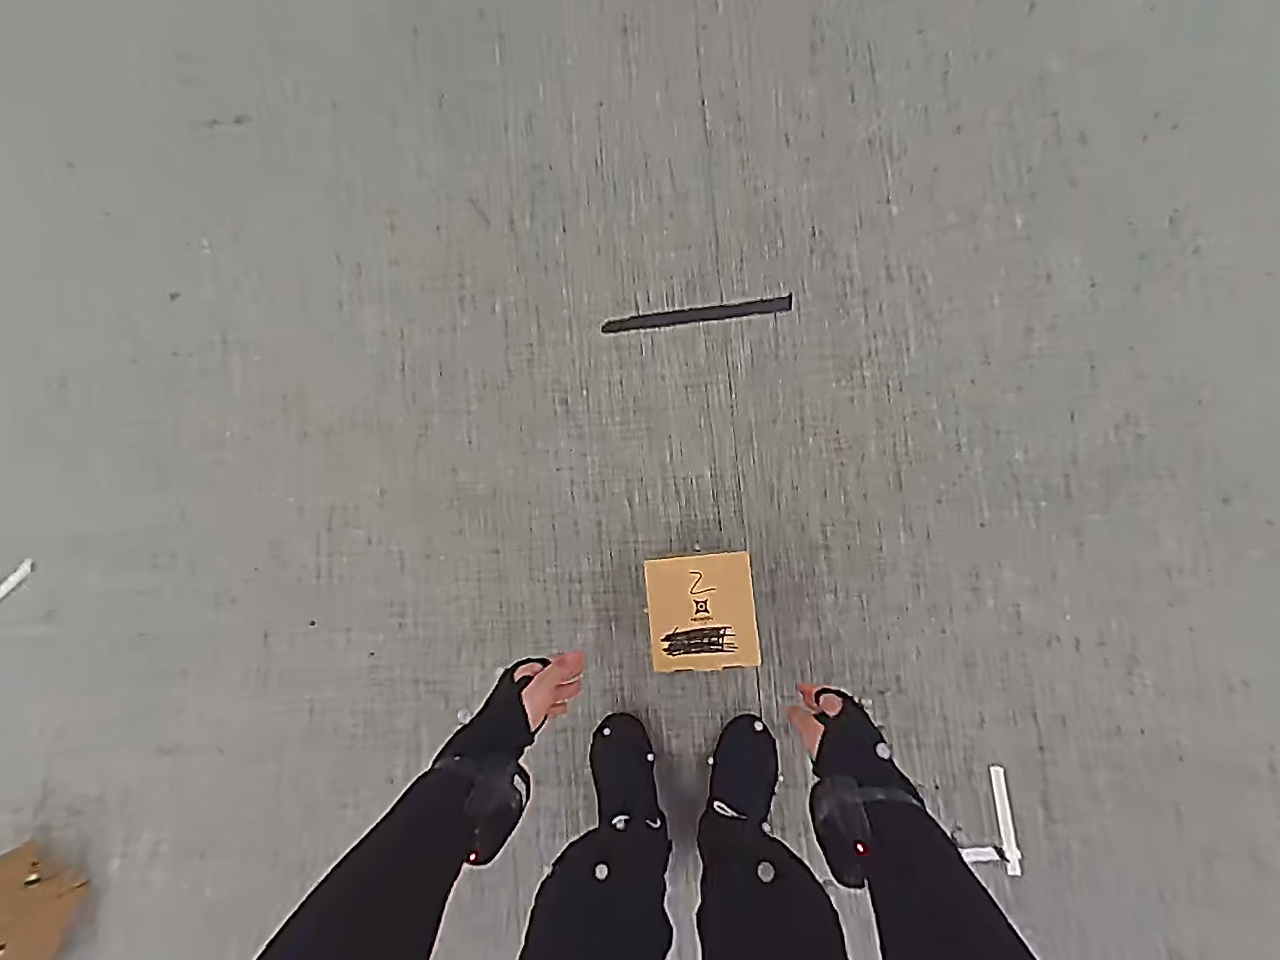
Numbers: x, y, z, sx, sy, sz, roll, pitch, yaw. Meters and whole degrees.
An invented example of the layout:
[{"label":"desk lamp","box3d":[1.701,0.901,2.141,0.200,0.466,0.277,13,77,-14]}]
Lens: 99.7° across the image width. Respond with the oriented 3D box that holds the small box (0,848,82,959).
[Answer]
[{"label":"small box","box3d":[-1.184,0.824,0.975,0.168,0.176,0.179,20,87,8]}]
